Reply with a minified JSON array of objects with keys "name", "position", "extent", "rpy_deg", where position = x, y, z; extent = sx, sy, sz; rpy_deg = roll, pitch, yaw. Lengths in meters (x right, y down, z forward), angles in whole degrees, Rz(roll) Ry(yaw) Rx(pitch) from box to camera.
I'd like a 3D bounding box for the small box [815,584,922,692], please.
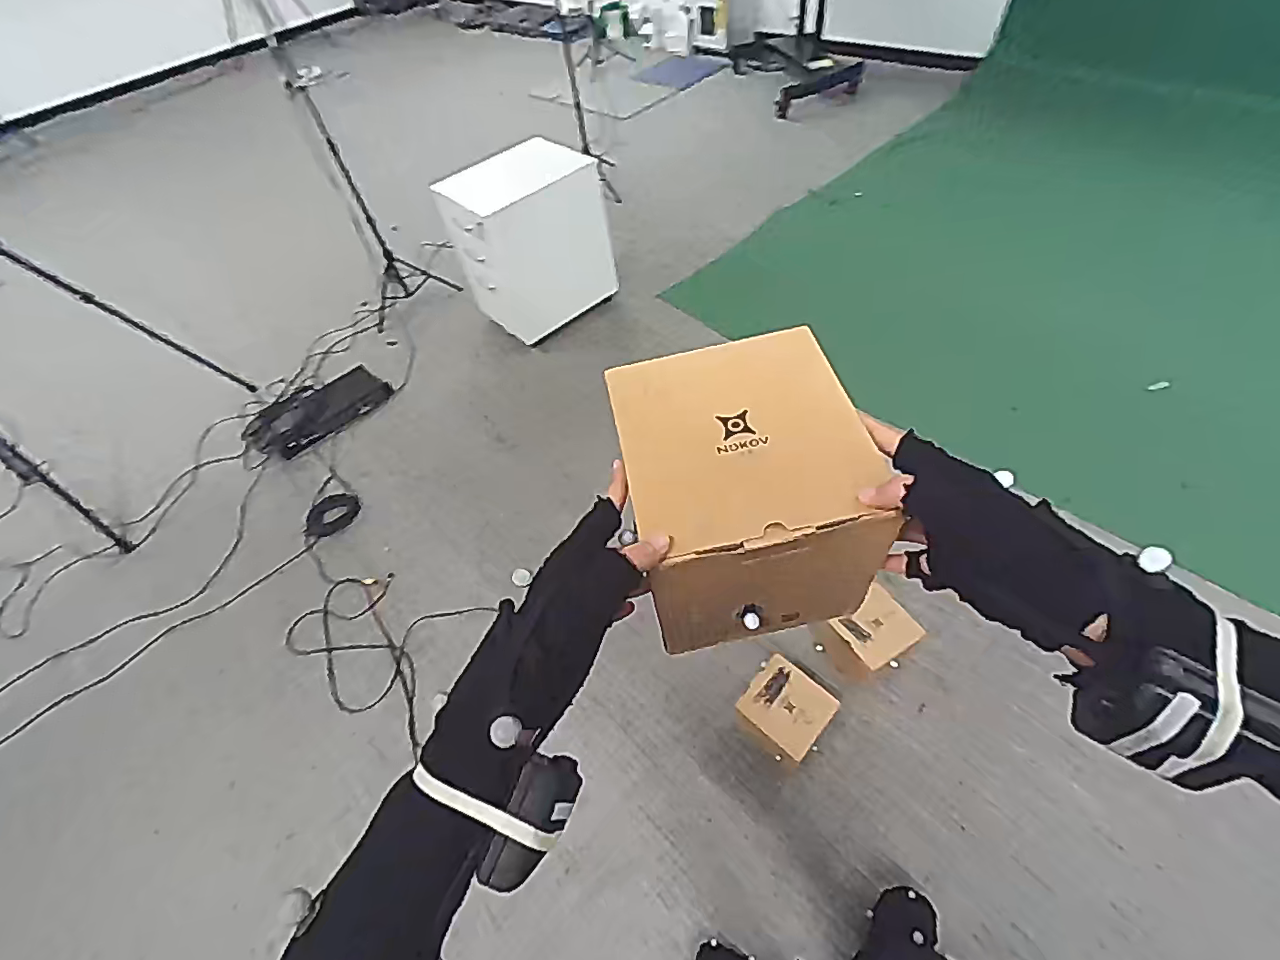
[{"name":"small box","position":[0.564,0.403,1.365],"extent":[0.179,0.176,0.168],"rpy_deg":[-27,54,-15]}]
